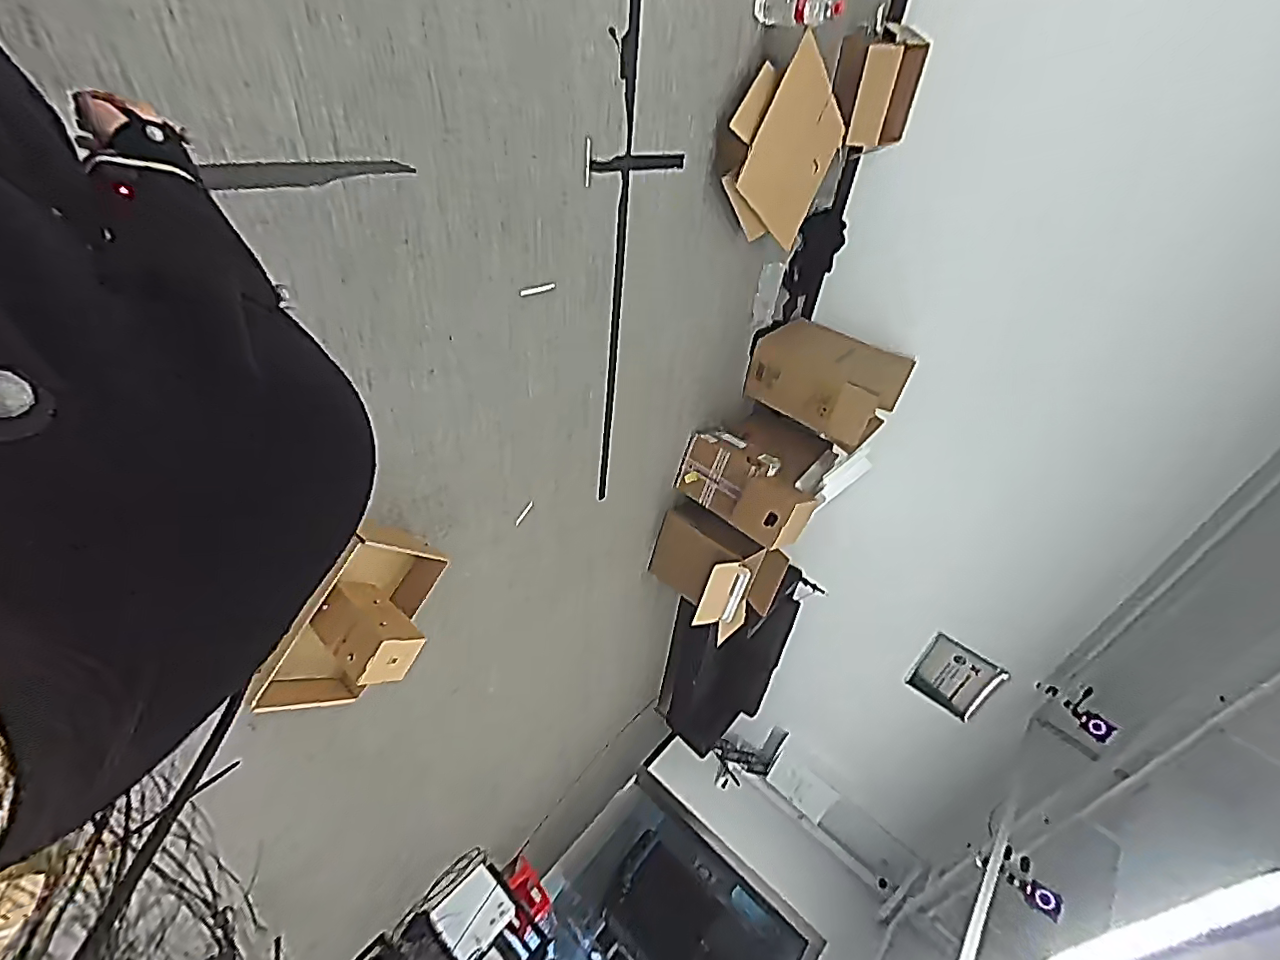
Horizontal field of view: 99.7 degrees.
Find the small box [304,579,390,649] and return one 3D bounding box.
[{"bbox_3d":[-0.982,0.451,1.825,0.168,0.176,0.179,-57,152,-1],"label":"small box"}]

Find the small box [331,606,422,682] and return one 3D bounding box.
[{"bbox_3d":[-0.857,0.524,1.751,0.168,0.176,0.179,-58,153,3],"label":"small box"}]
